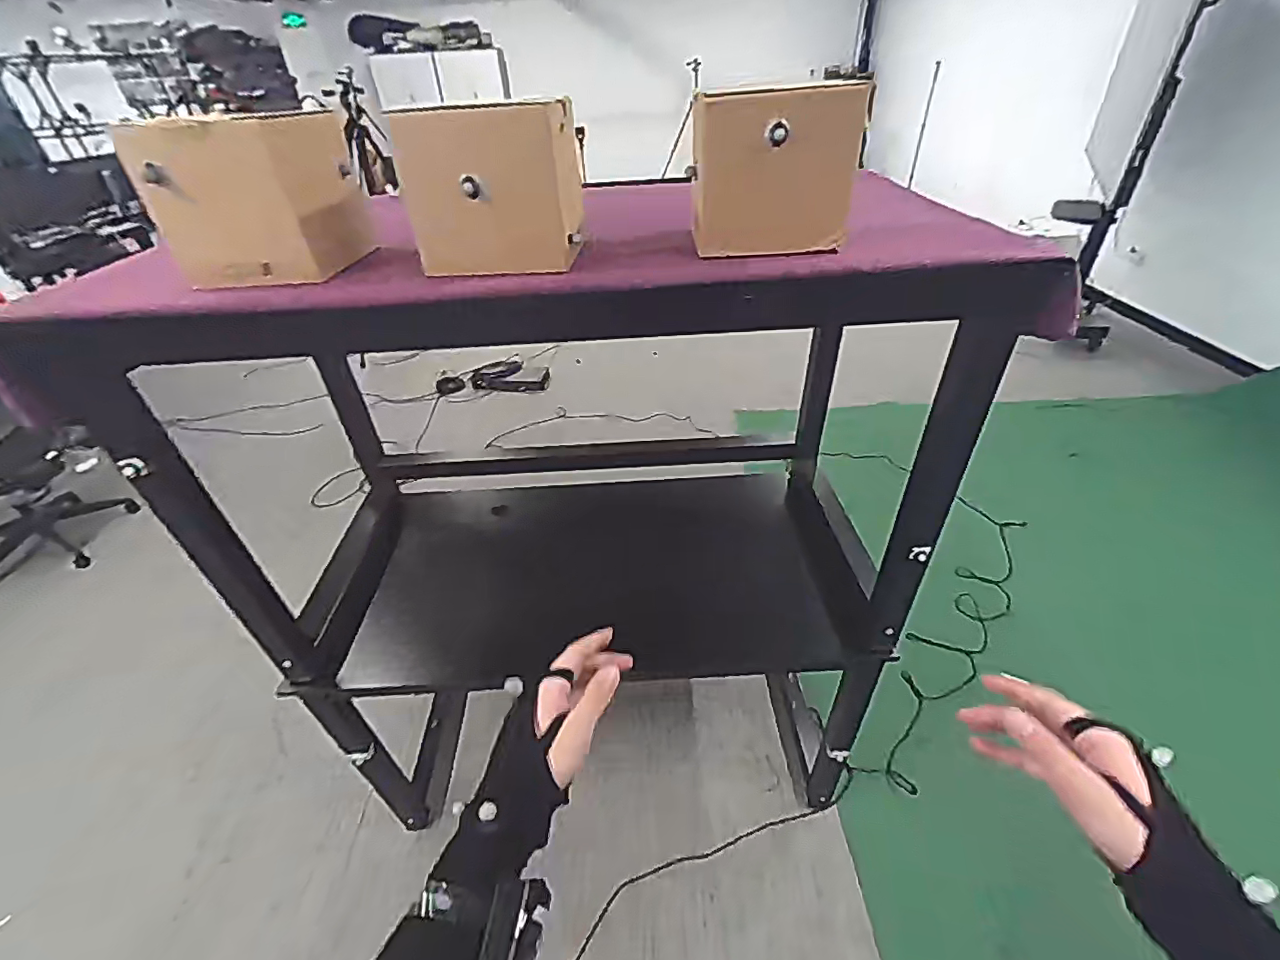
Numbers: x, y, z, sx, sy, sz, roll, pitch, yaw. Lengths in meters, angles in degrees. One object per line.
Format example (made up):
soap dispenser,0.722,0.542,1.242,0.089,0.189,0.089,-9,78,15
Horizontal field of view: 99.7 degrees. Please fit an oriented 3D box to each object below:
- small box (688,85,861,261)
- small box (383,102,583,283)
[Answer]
small box,0.152,-0.380,0.672,0.179,0.176,0.168,-2,37,4
small box,-0.172,-0.353,0.666,0.179,0.176,0.168,-1,37,5
